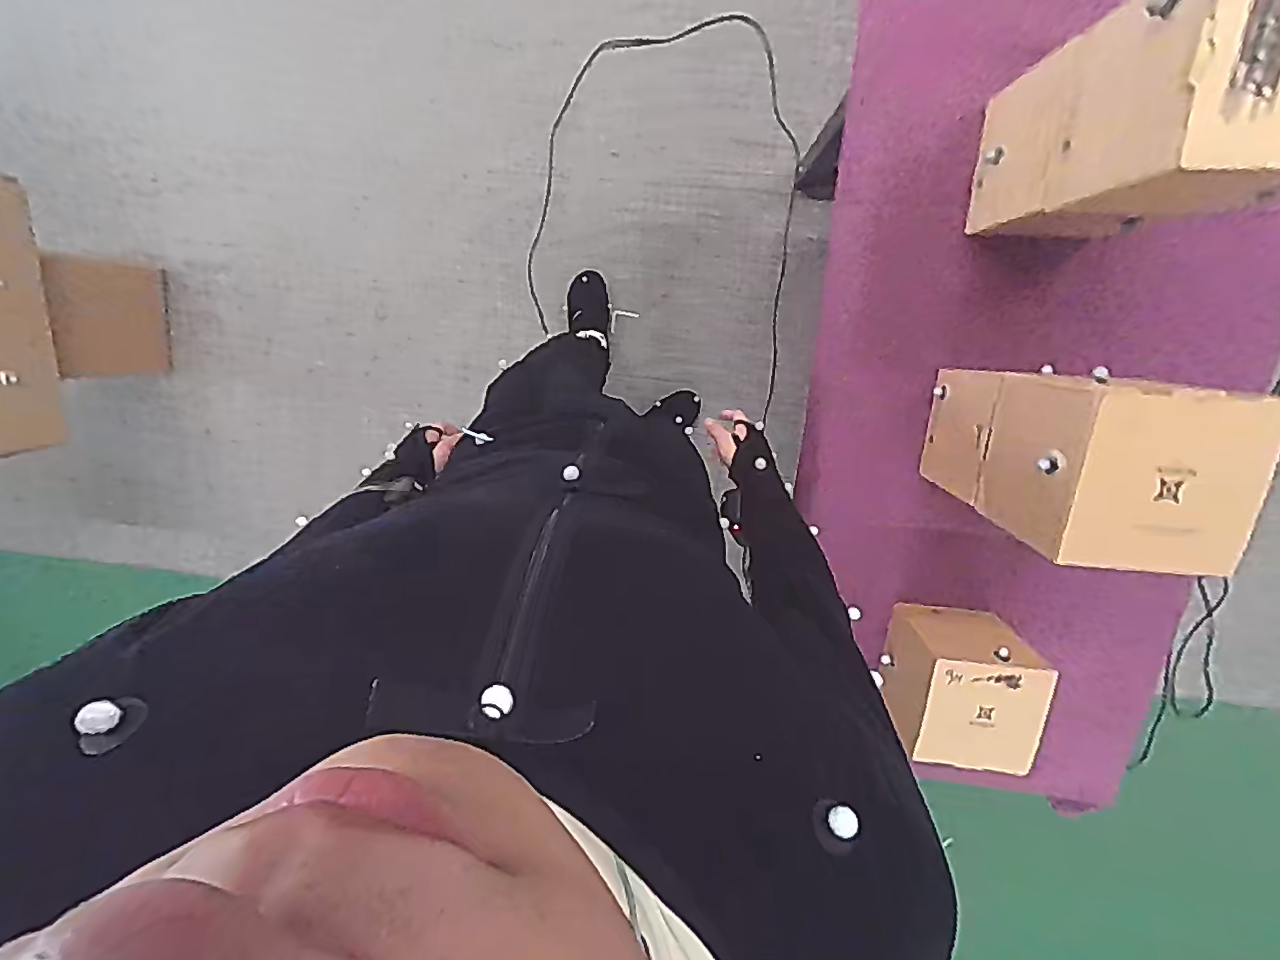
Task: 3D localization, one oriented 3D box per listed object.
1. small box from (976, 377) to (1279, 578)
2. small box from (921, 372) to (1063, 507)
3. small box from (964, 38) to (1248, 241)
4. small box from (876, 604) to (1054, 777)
[{"bbox_3d":[0.499,-0.015,0.584,0.168,0.176,0.179,5,106,5],"label":"small box"},{"bbox_3d":[0.516,-0.057,0.741,0.179,0.176,0.168,4,105,3],"label":"small box"},{"bbox_3d":[0.532,-0.391,0.649,0.179,0.176,0.168,3,105,4],"label":"small box"},{"bbox_3d":[0.487,0.319,0.844,0.168,0.176,0.179,5,105,3],"label":"small box"}]
